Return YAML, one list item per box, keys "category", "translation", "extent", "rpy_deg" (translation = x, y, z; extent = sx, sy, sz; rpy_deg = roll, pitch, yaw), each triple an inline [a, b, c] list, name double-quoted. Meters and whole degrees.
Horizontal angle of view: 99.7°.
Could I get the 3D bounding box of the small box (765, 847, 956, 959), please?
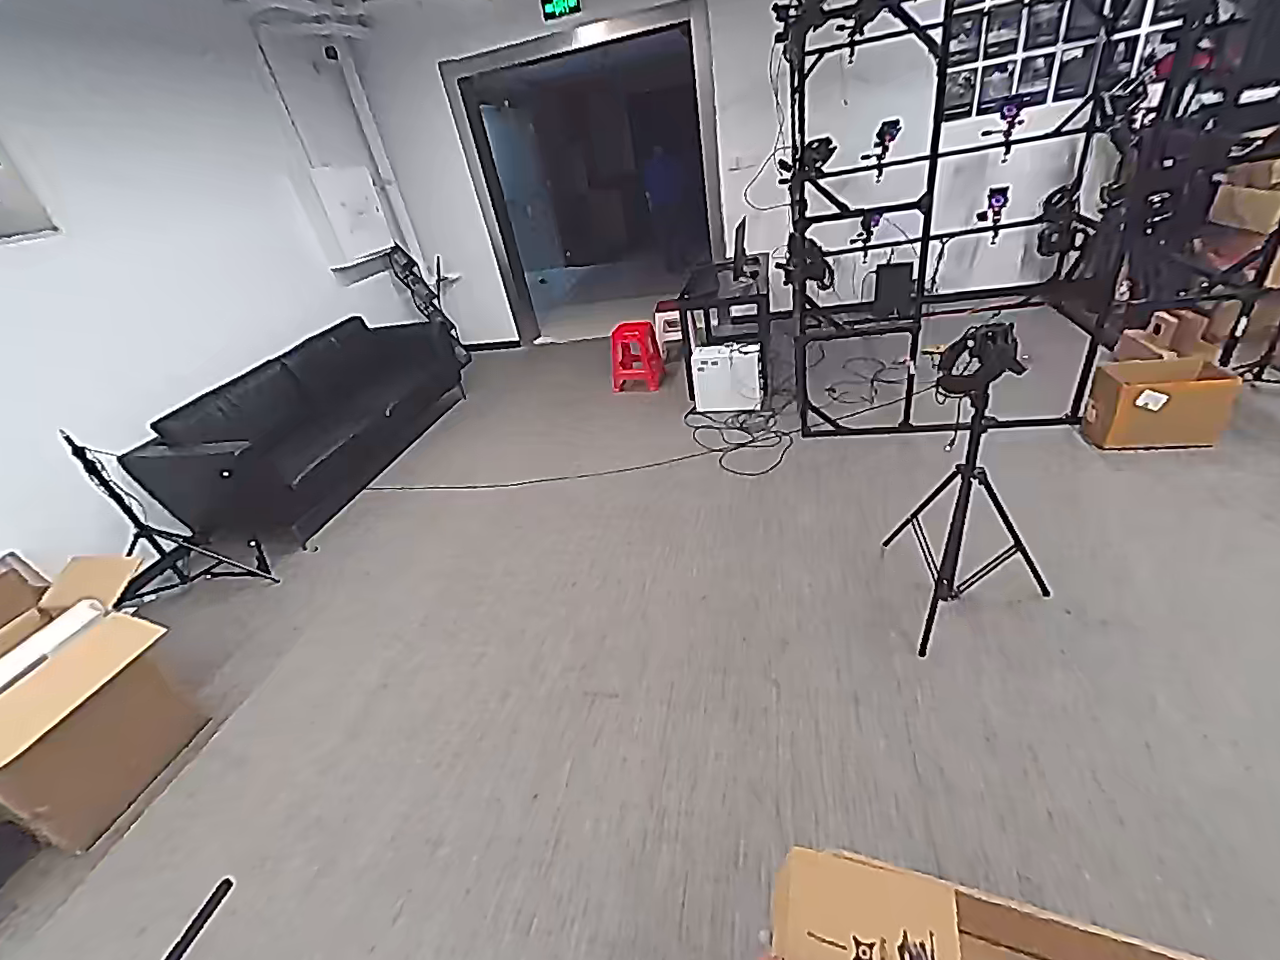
- category: "small box"
  translation: [0.241, 0.558, 0.618]
  extent: [0.179, 0.176, 0.168]
  rpy_deg: [9, 43, 13]
